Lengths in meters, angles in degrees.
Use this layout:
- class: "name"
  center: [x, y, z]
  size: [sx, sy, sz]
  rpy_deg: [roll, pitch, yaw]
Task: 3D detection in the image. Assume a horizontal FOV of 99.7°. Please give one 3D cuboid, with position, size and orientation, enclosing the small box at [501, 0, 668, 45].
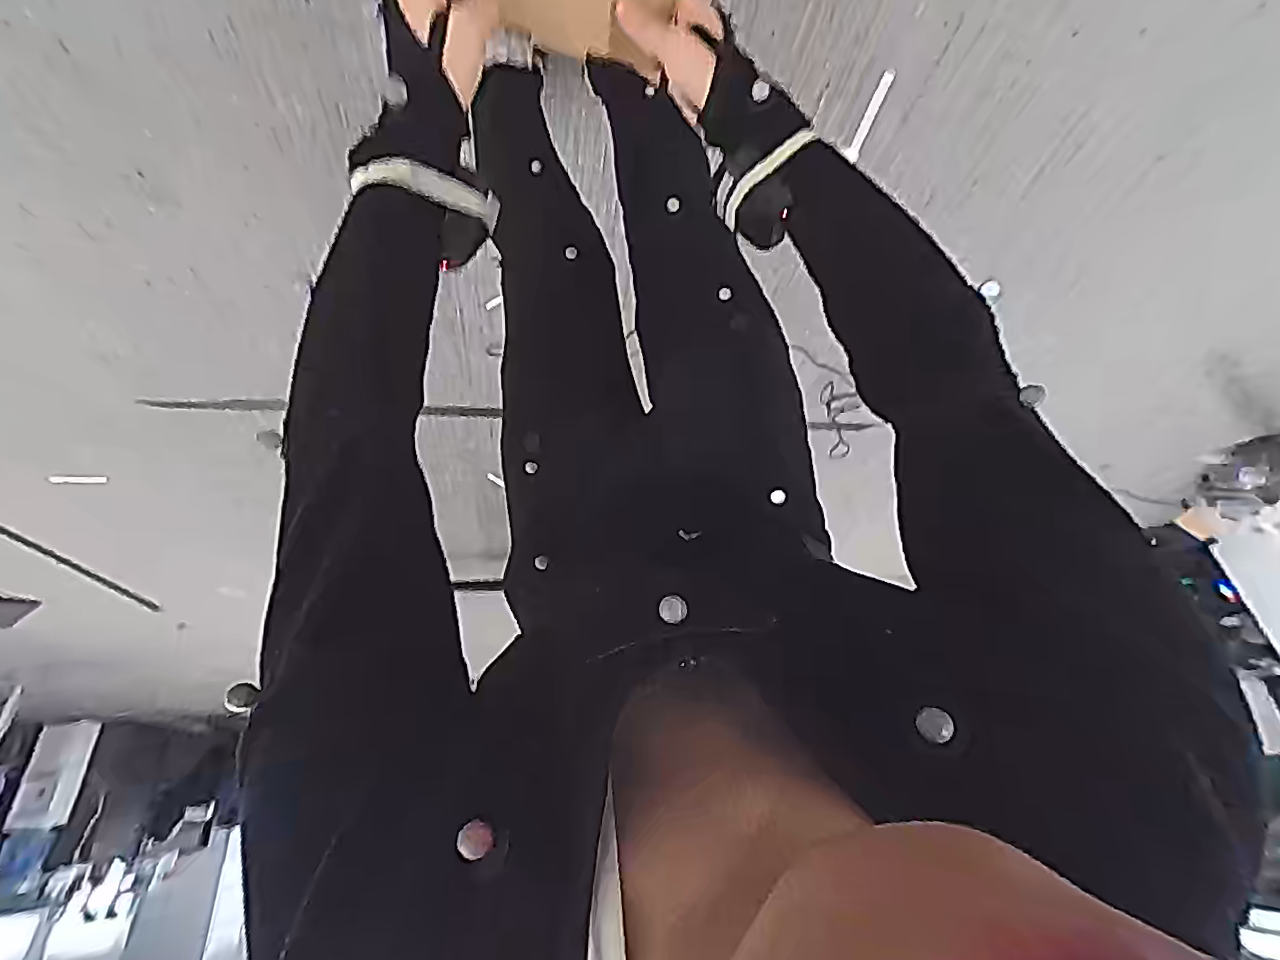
- class: "small box"
  center: [-0.053, -0.454, 0.361]
  size: [0.168, 0.176, 0.179]
  rpy_deg: [-5, 154, -26]
